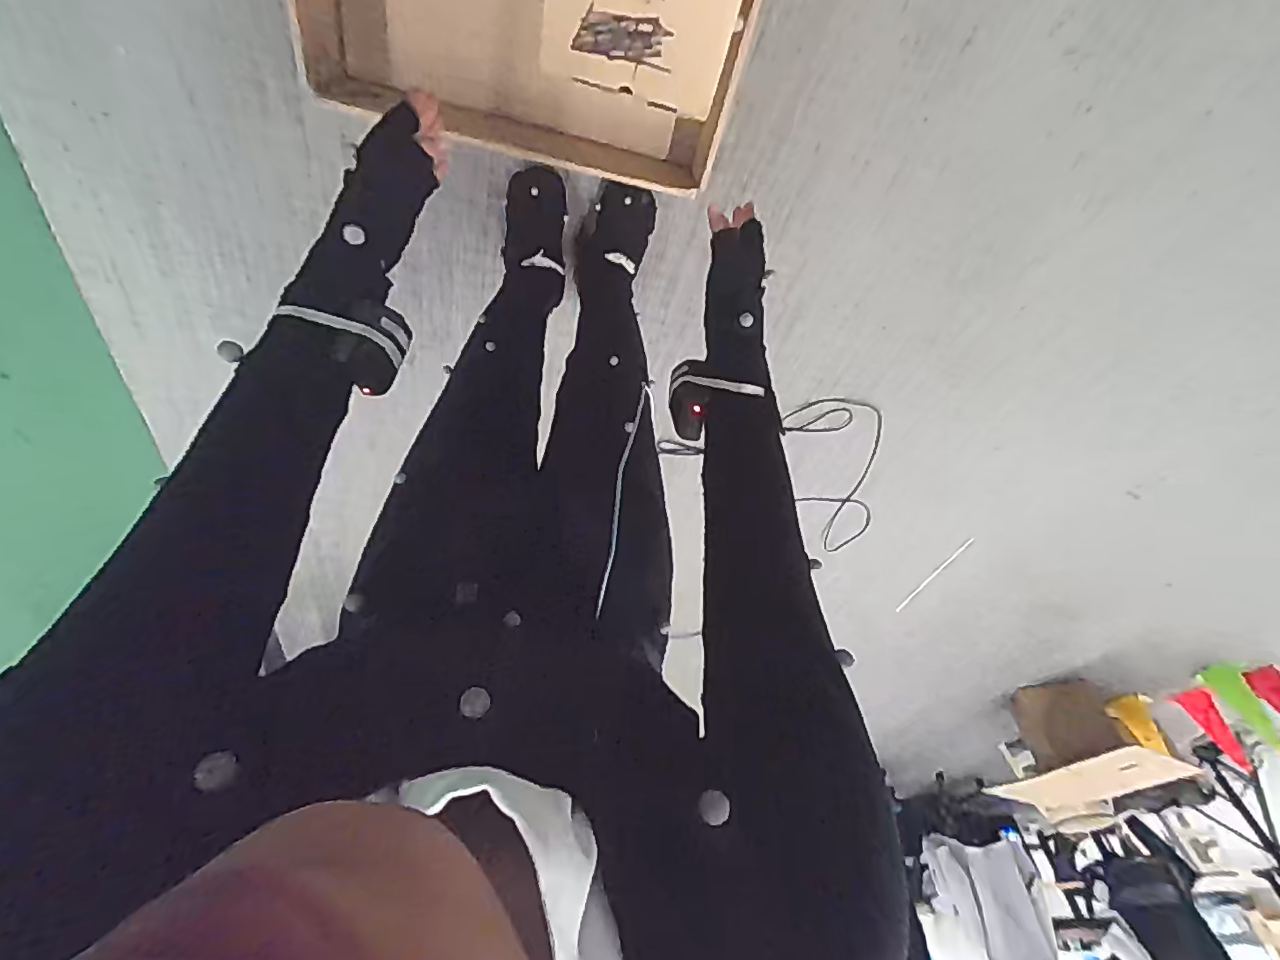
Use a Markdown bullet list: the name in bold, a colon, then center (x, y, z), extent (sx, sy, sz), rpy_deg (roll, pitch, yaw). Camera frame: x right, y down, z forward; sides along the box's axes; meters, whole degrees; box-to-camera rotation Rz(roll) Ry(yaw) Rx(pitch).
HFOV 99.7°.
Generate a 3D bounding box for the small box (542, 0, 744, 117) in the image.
- **small box**: center (0.010, -0.479, 0.503), extent (0.168, 0.176, 0.179), rpy_deg (9, 134, -11)
